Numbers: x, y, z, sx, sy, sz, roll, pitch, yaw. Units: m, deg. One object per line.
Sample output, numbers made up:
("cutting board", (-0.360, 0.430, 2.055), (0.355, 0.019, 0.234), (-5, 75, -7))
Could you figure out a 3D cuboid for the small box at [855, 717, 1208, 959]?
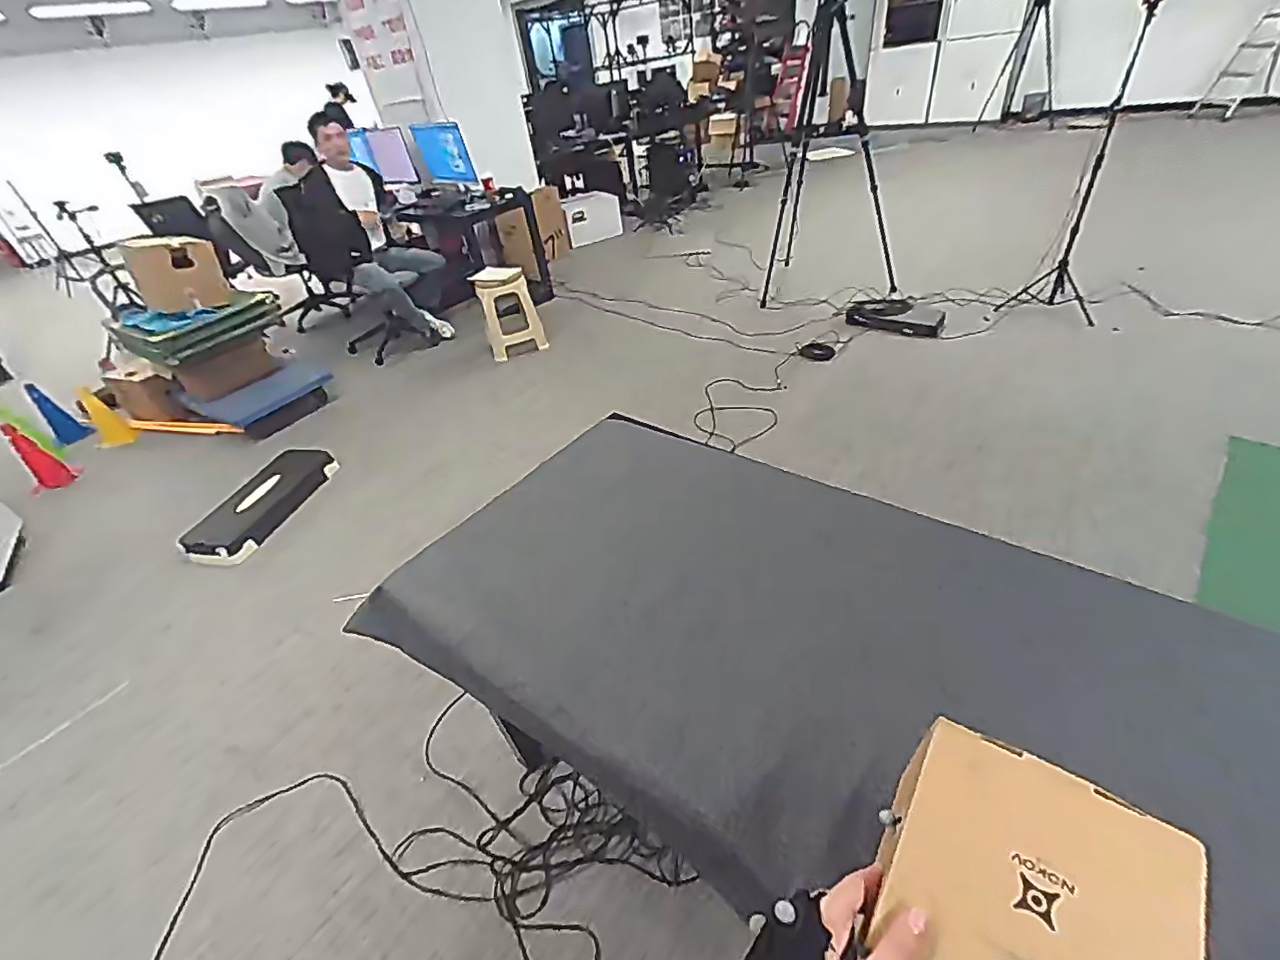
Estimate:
("small box", (0.277, 0.326, 0.412), (0.168, 0.176, 0.179), (20, 54, 30))
